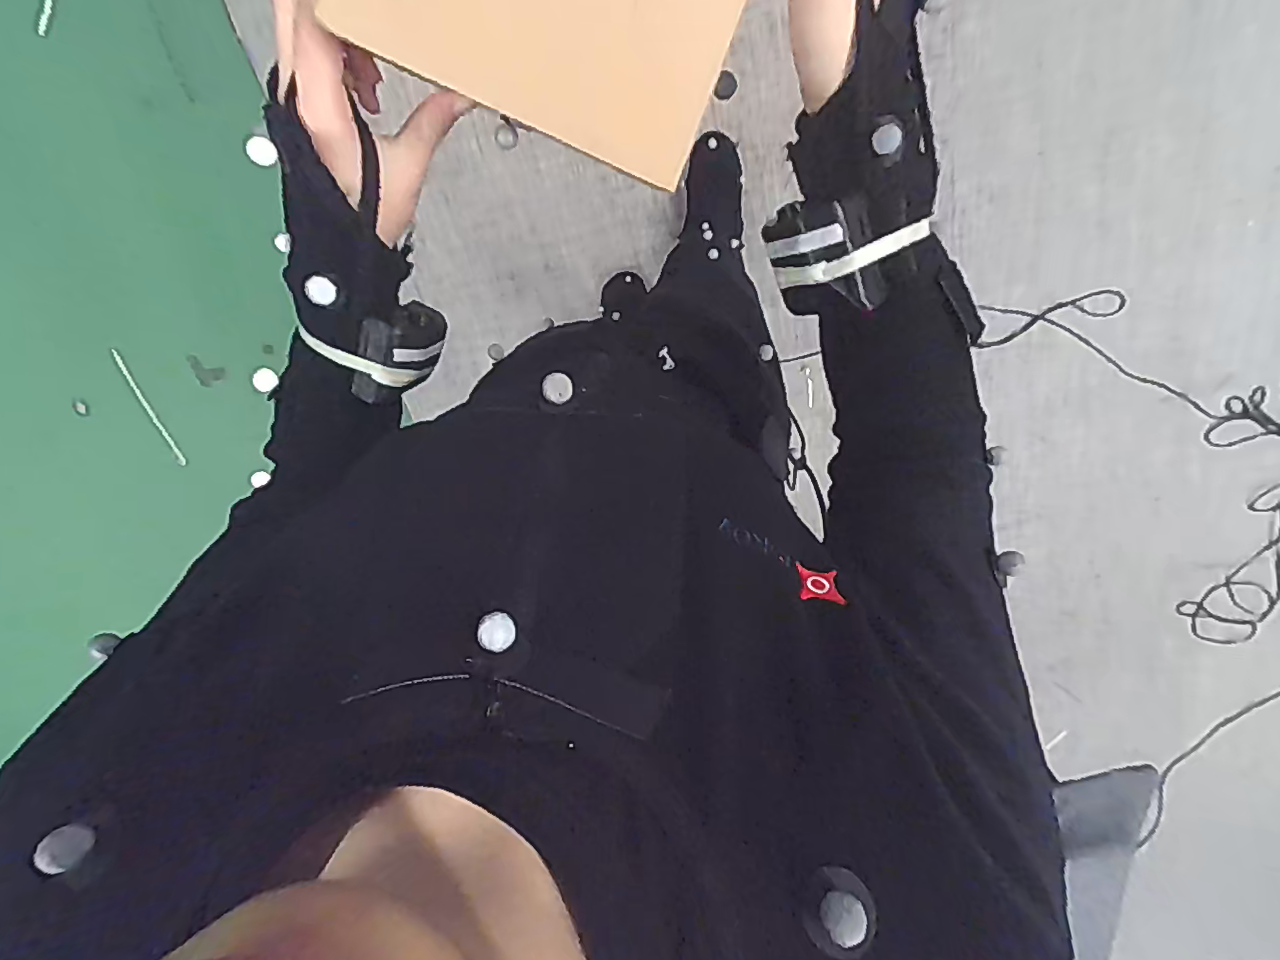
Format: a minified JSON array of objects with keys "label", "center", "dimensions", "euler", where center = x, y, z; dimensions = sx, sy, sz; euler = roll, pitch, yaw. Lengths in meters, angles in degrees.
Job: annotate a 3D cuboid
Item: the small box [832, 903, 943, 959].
[{"label":"small box","center":[0.457,0.889,0.946],"dimensions":[0.168,0.176,0.179],"euler":[-21,113,11]}]
